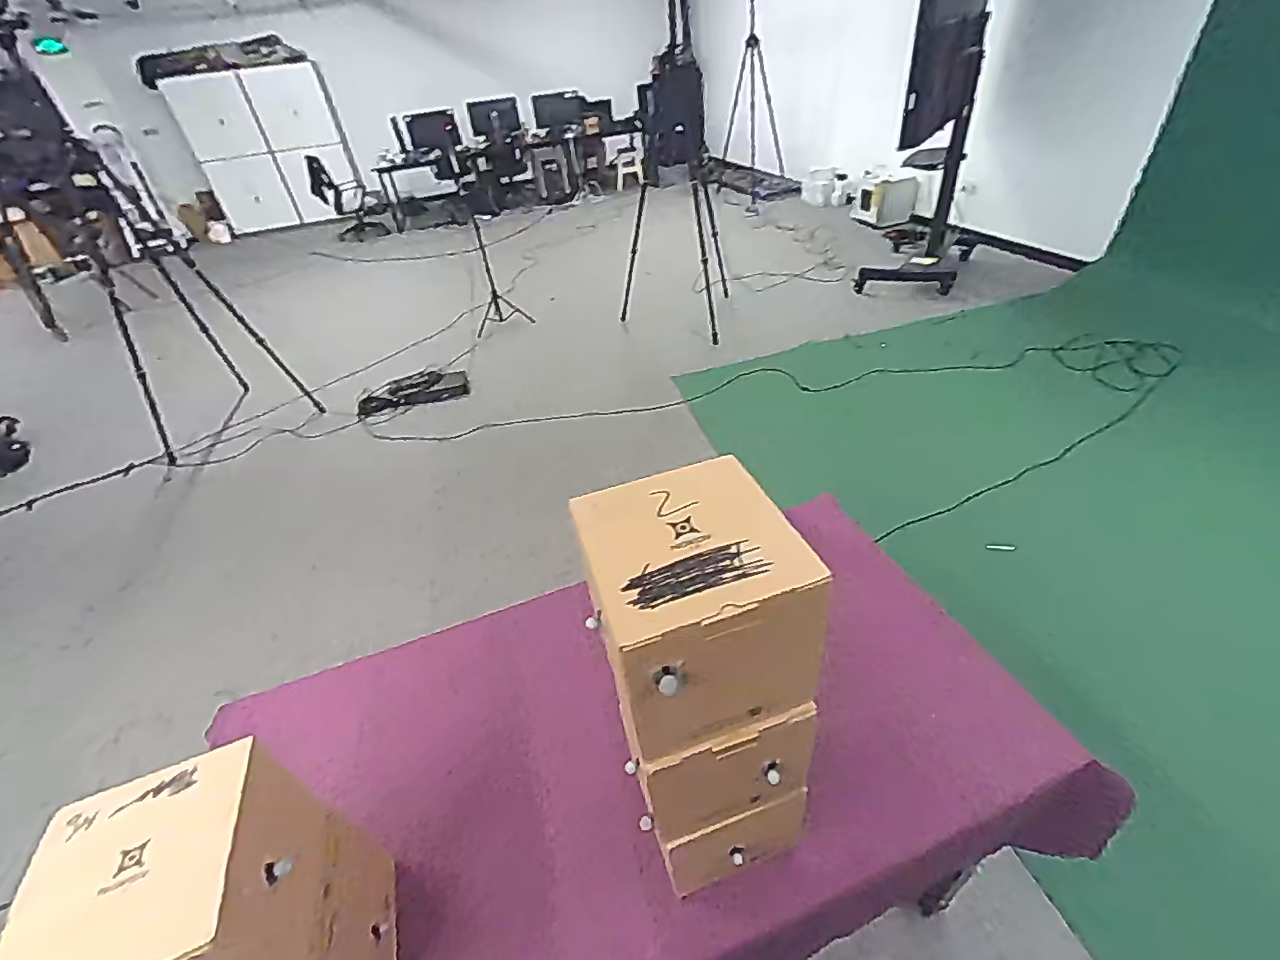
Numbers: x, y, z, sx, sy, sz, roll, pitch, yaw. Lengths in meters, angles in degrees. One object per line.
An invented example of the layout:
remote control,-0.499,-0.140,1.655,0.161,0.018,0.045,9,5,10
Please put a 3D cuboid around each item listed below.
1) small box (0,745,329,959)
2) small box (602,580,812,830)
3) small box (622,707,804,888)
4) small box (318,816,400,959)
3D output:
small box,-0.410,0.391,0.496,0.168,0.176,0.179,-18,39,-14
small box,0.067,0.246,0.587,0.168,0.176,0.179,-15,37,-9
small box,0.088,0.377,0.683,0.168,0.176,0.179,-16,38,-10
small box,-0.386,0.521,0.594,0.179,0.176,0.168,-18,38,-13
